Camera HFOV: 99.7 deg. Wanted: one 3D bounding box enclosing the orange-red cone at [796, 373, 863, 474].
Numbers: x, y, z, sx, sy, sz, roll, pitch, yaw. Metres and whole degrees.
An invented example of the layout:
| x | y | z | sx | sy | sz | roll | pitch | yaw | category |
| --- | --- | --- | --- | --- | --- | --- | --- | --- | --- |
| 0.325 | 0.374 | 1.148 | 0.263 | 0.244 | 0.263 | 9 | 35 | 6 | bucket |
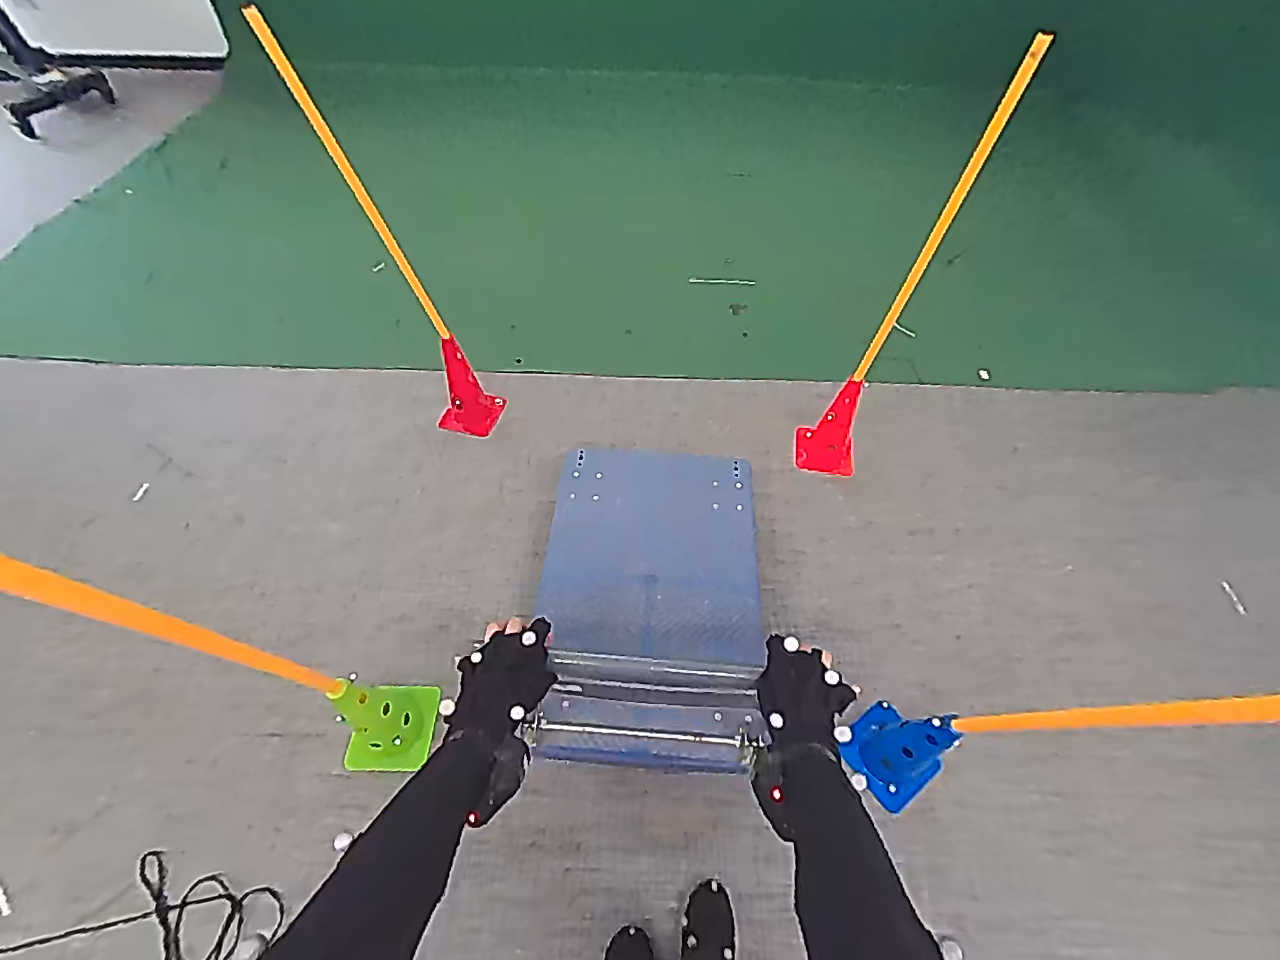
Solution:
| x | y | z | sx | sy | sz | roll | pitch | yaw | category |
| --- | --- | --- | --- | --- | --- | --- | --- | --- | --- |
| 0.663 | -0.210 | 1.794 | 0.198 | 0.360 | 0.199 | 11 | 55 | 7 | orange-red cone |
